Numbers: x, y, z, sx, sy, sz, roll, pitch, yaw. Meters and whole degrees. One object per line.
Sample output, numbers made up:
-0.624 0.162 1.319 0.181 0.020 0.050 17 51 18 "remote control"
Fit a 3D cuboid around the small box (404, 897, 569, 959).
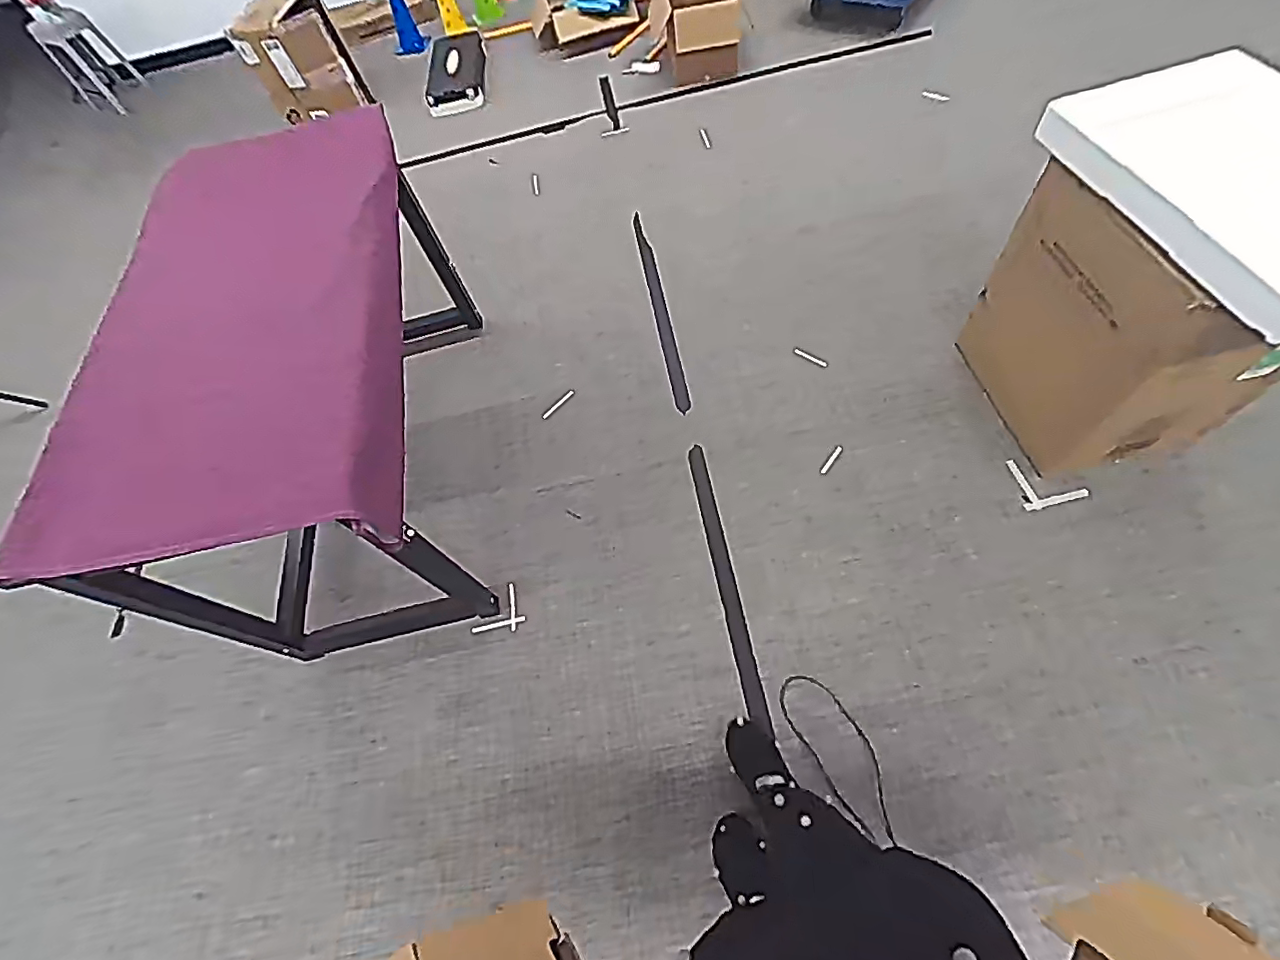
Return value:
-0.182 0.650 0.626 0.168 0.179 0.176 31 104 49 "small box"
